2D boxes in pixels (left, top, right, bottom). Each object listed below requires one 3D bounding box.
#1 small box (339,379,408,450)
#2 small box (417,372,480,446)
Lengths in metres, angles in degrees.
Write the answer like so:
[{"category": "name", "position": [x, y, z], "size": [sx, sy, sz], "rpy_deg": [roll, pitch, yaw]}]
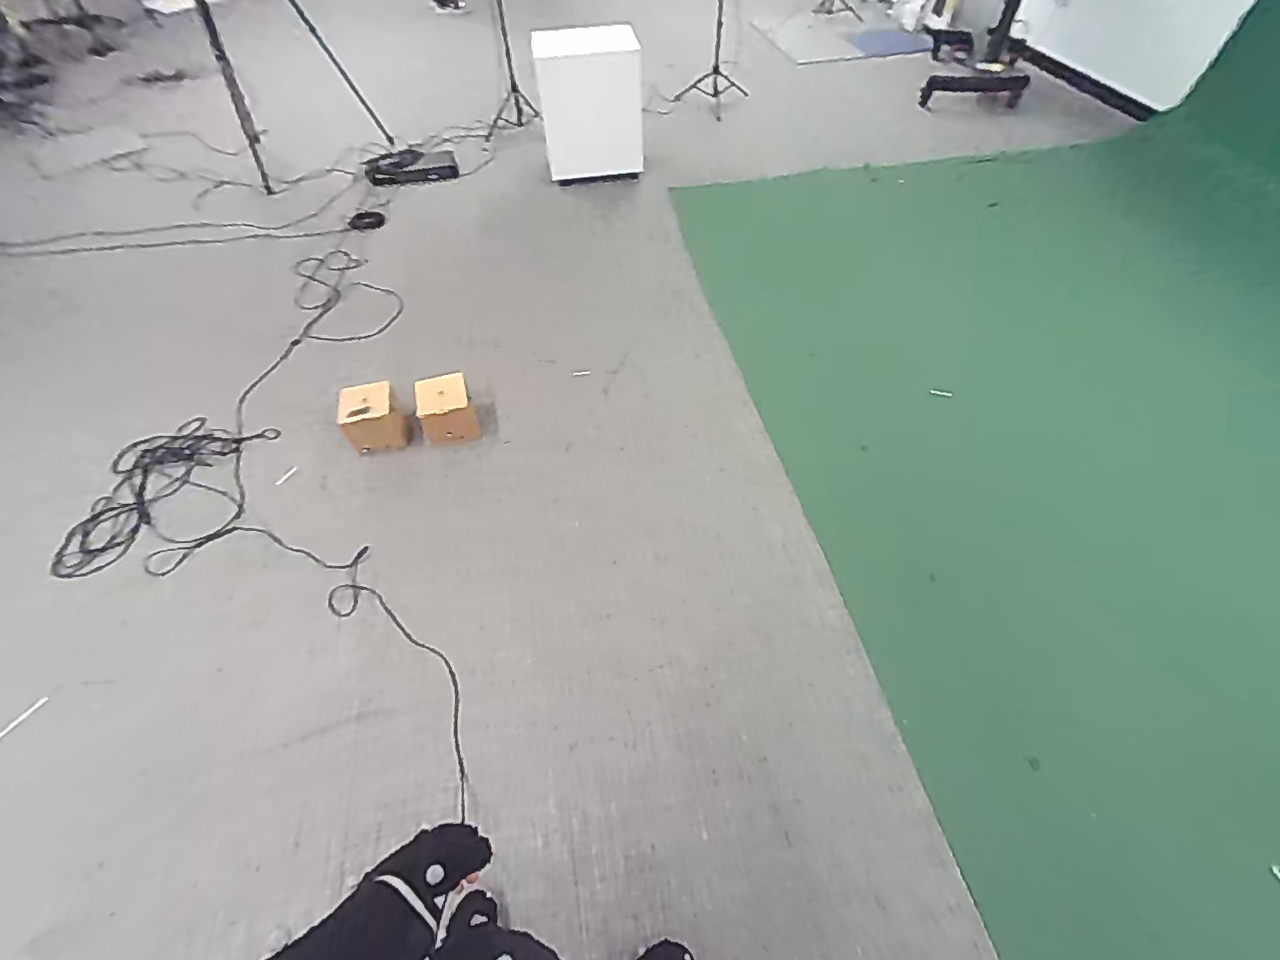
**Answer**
[{"category": "small box", "position": [-0.925, -0.221, 1.888], "size": [0.168, 0.176, 0.179], "rpy_deg": [-12, 54, -7]}, {"category": "small box", "position": [-0.672, -0.250, 1.905], "size": [0.168, 0.176, 0.179], "rpy_deg": [-15, 56, -9]}]
